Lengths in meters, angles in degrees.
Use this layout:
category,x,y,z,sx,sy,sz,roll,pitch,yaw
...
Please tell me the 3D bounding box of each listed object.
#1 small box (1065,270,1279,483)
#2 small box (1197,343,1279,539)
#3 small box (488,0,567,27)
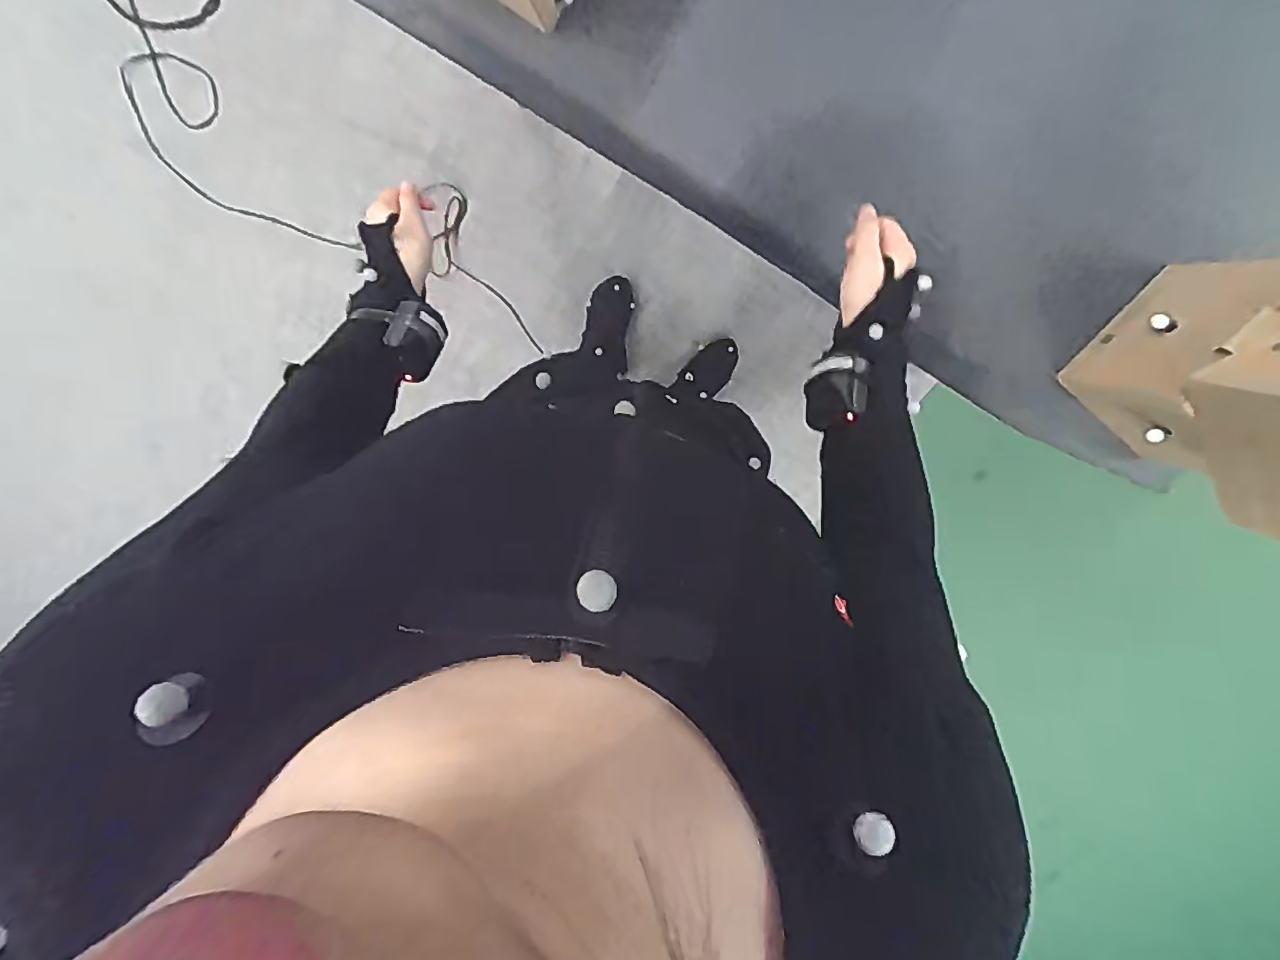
category,x,y,z,sx,sy,sz,roll,pitch,yaw
small box,0.627,-0.104,0.583,0.179,0.176,0.168,36,106,-10
small box,0.617,-0.035,0.434,0.168,0.176,0.179,-31,107,11
small box,-0.125,-0.535,0.455,0.179,0.176,0.168,31,110,-9
